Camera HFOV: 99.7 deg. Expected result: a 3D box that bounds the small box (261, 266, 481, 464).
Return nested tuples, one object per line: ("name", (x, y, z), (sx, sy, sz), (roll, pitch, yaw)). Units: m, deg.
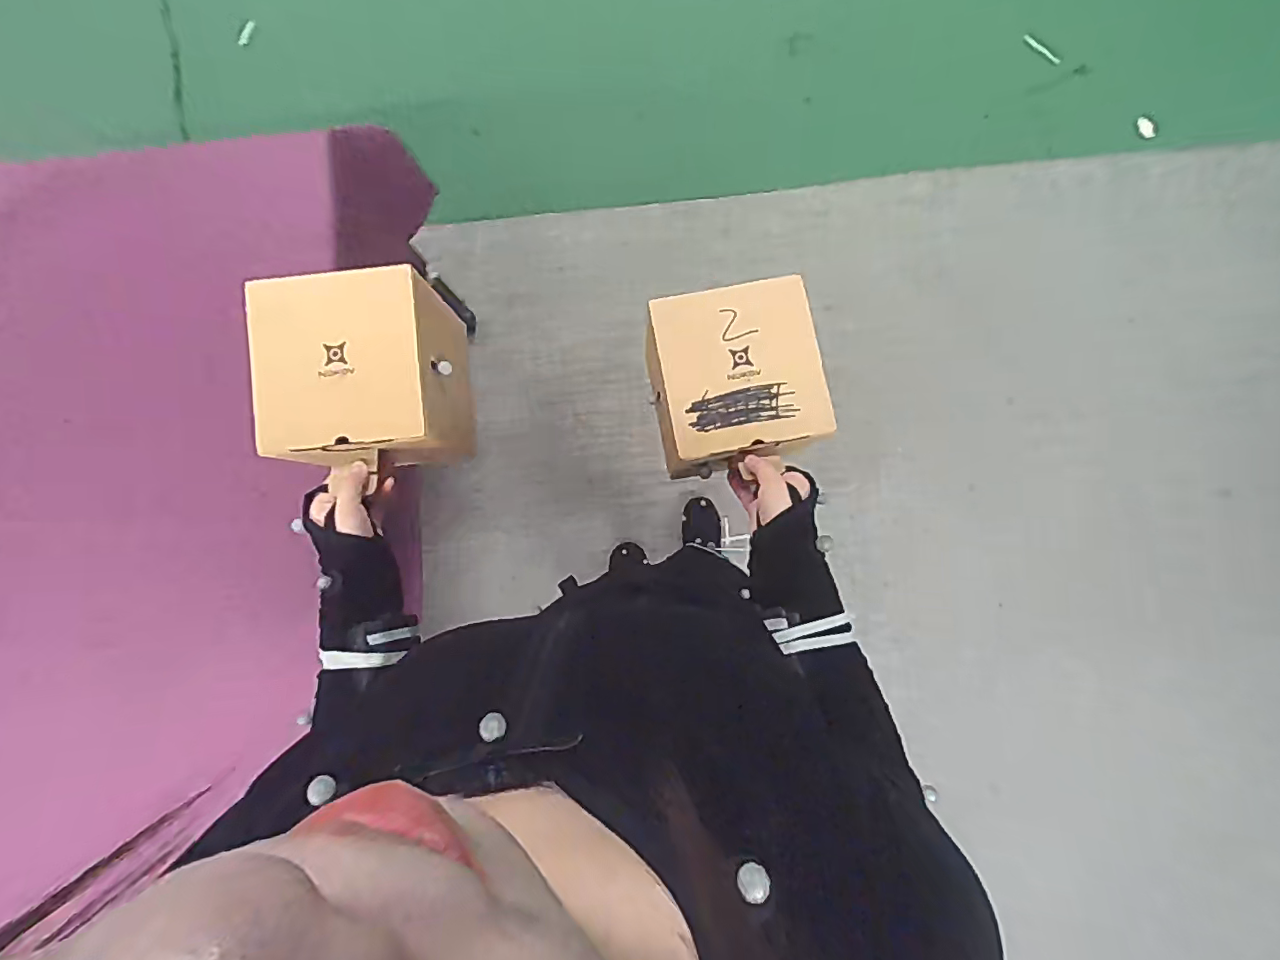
("small box", (-0.285, -0.116, 0.606), (0.168, 0.176, 0.179), (-4, 87, -1))
